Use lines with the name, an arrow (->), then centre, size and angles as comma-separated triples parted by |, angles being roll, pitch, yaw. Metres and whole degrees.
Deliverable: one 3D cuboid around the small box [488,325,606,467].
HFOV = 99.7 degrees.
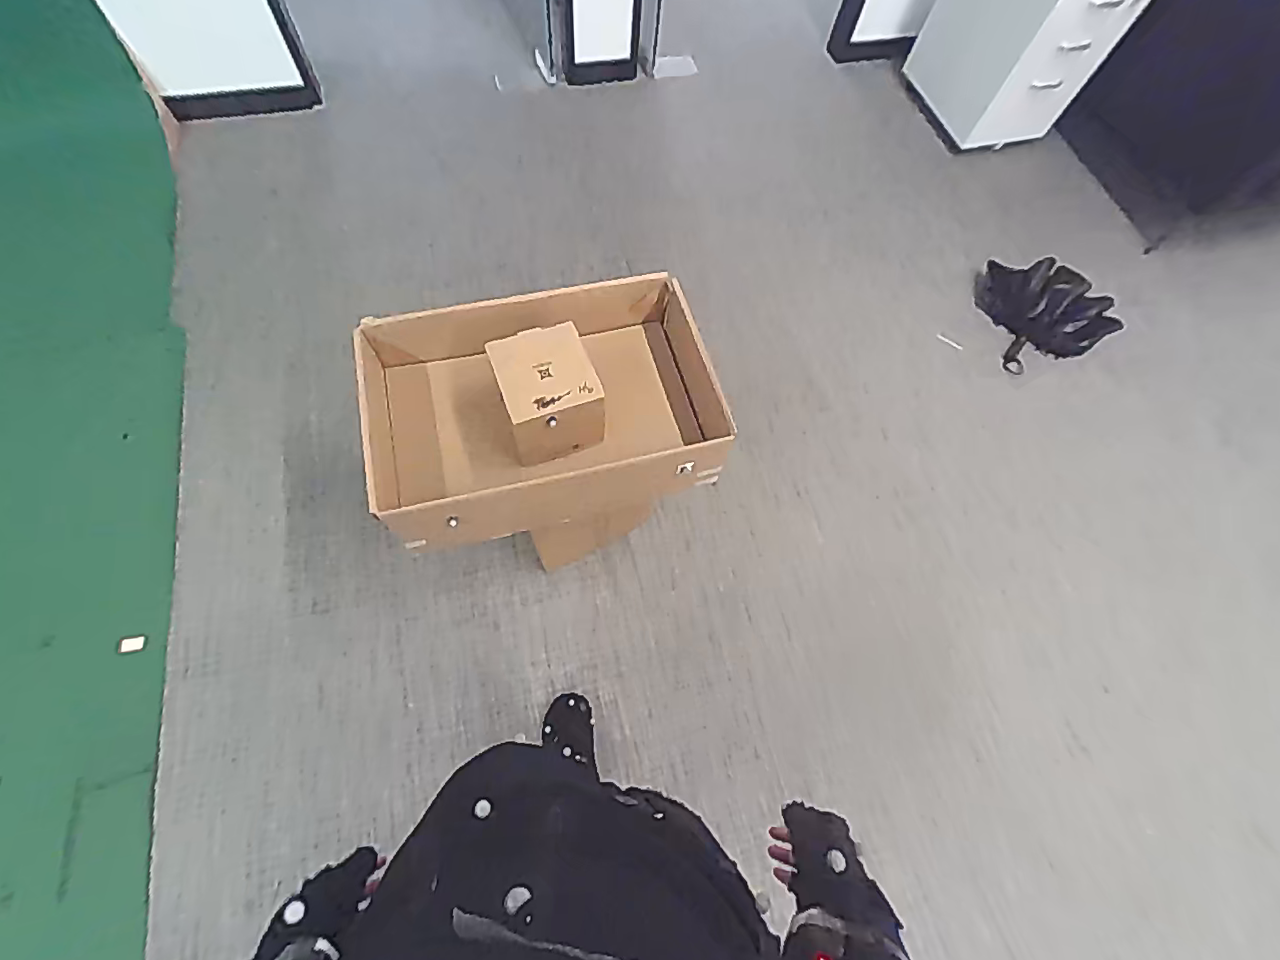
small box -> -0.170, -0.153, 1.015 | 0.168, 0.176, 0.179 | -20, 68, -11
